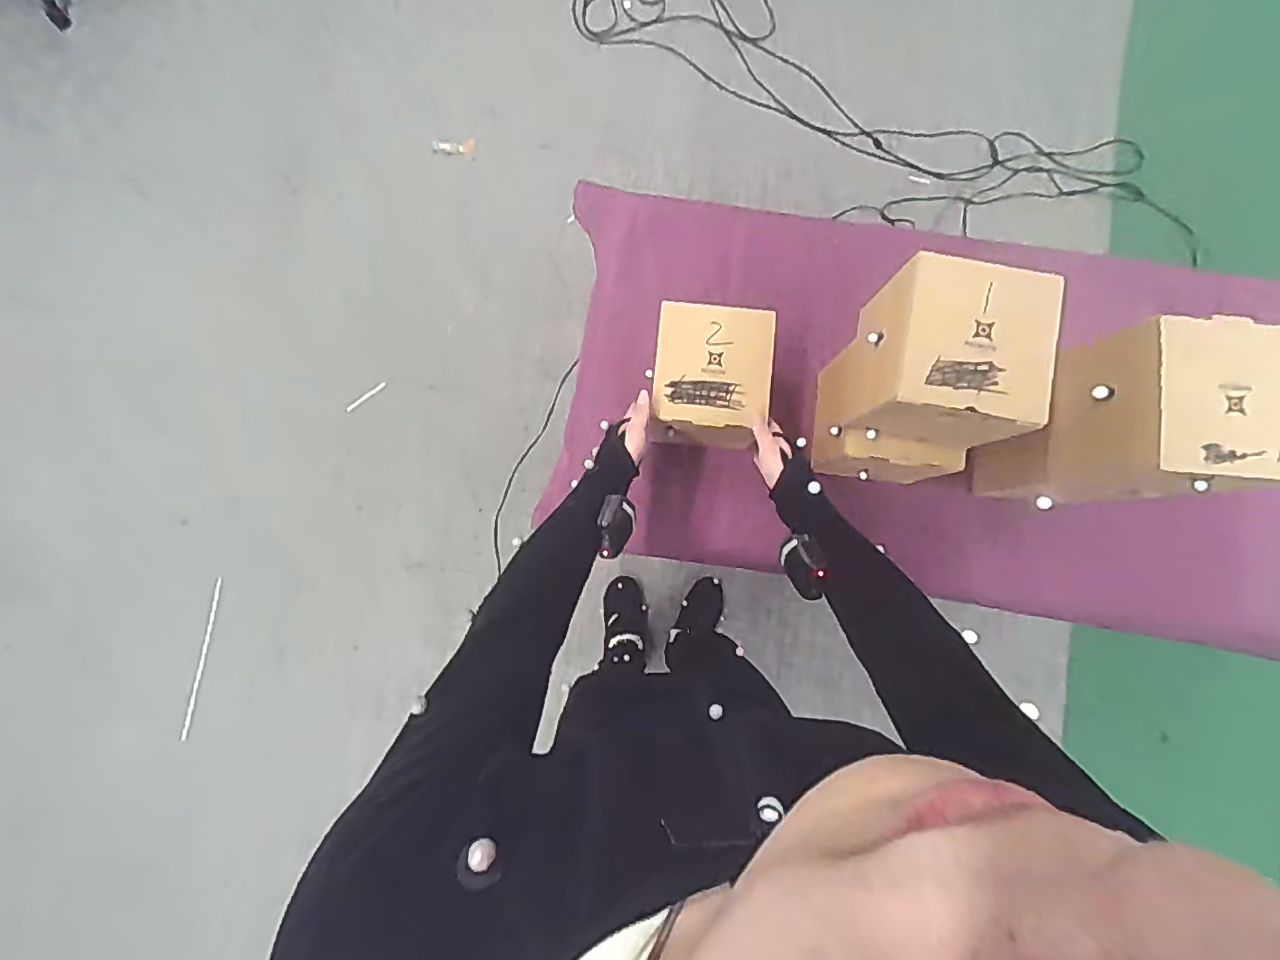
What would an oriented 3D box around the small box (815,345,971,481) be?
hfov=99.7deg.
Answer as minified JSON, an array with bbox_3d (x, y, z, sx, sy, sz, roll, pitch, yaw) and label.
[{"bbox_3d":[0.377,-0.101,0.824,0.168,0.176,0.179,7,85,1],"label":"small box"}]

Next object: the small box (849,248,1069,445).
[{"bbox_3d":[0.373,-0.149,0.664,0.168,0.176,0.179,11,84,2],"label":"small box"}]

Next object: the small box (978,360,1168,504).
[{"bbox_3d":[0.640,-0.063,0.814,0.168,0.176,0.179,5,84,2],"label":"small box"}]

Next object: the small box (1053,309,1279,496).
[{"bbox_3d":[0.638,-0.082,0.651,0.168,0.176,0.179,5,83,2],"label":"small box"}]
